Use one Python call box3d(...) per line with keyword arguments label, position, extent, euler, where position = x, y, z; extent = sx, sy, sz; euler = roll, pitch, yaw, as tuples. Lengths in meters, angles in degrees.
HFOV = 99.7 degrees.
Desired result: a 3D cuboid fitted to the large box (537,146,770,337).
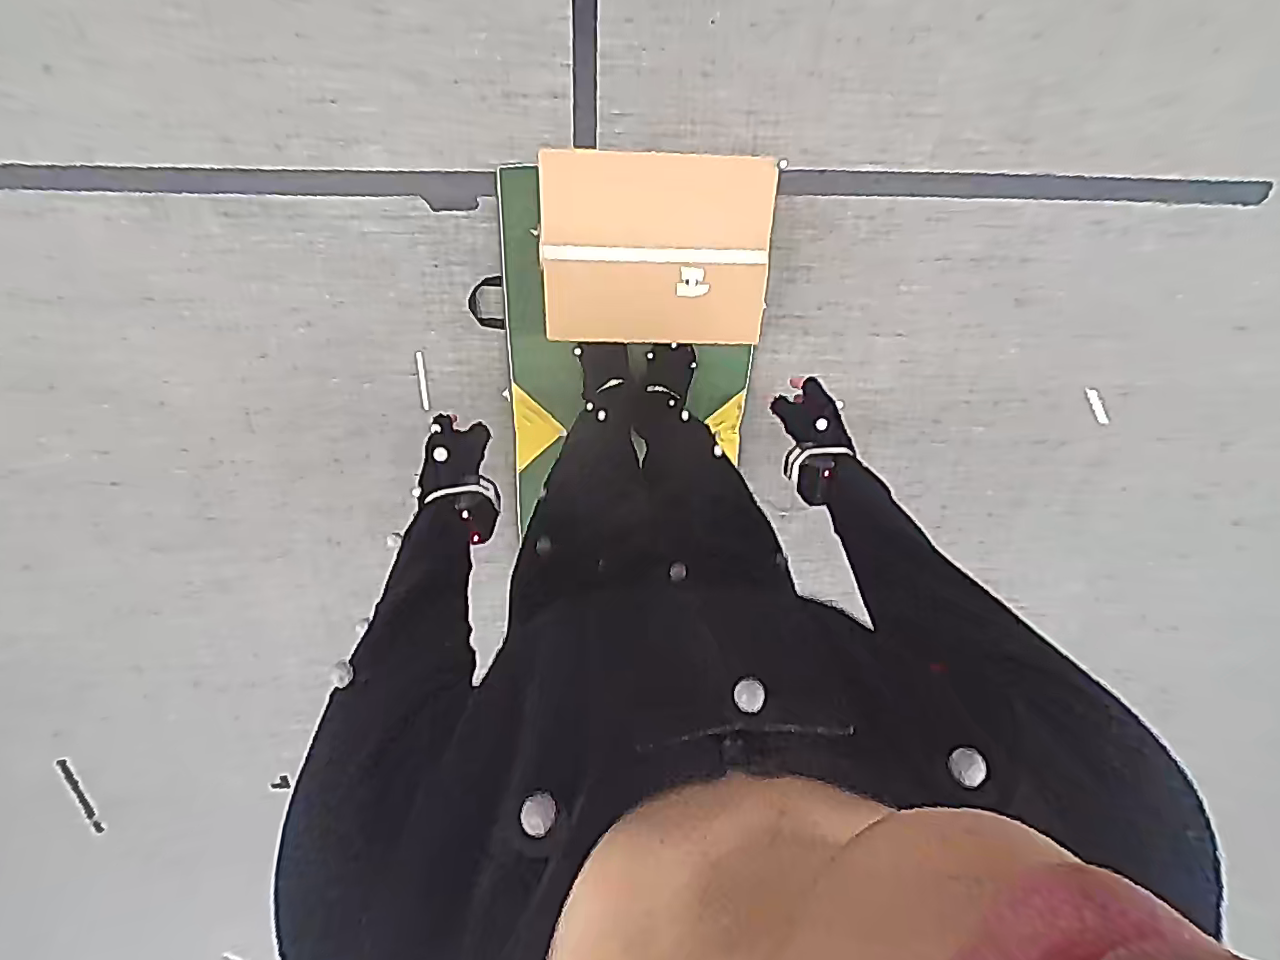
box3d(label="large box", position=(0.013, -0.479, 1.106), extent=(0.408, 0.320, 0.320), euler=(-1, 116, -4))
